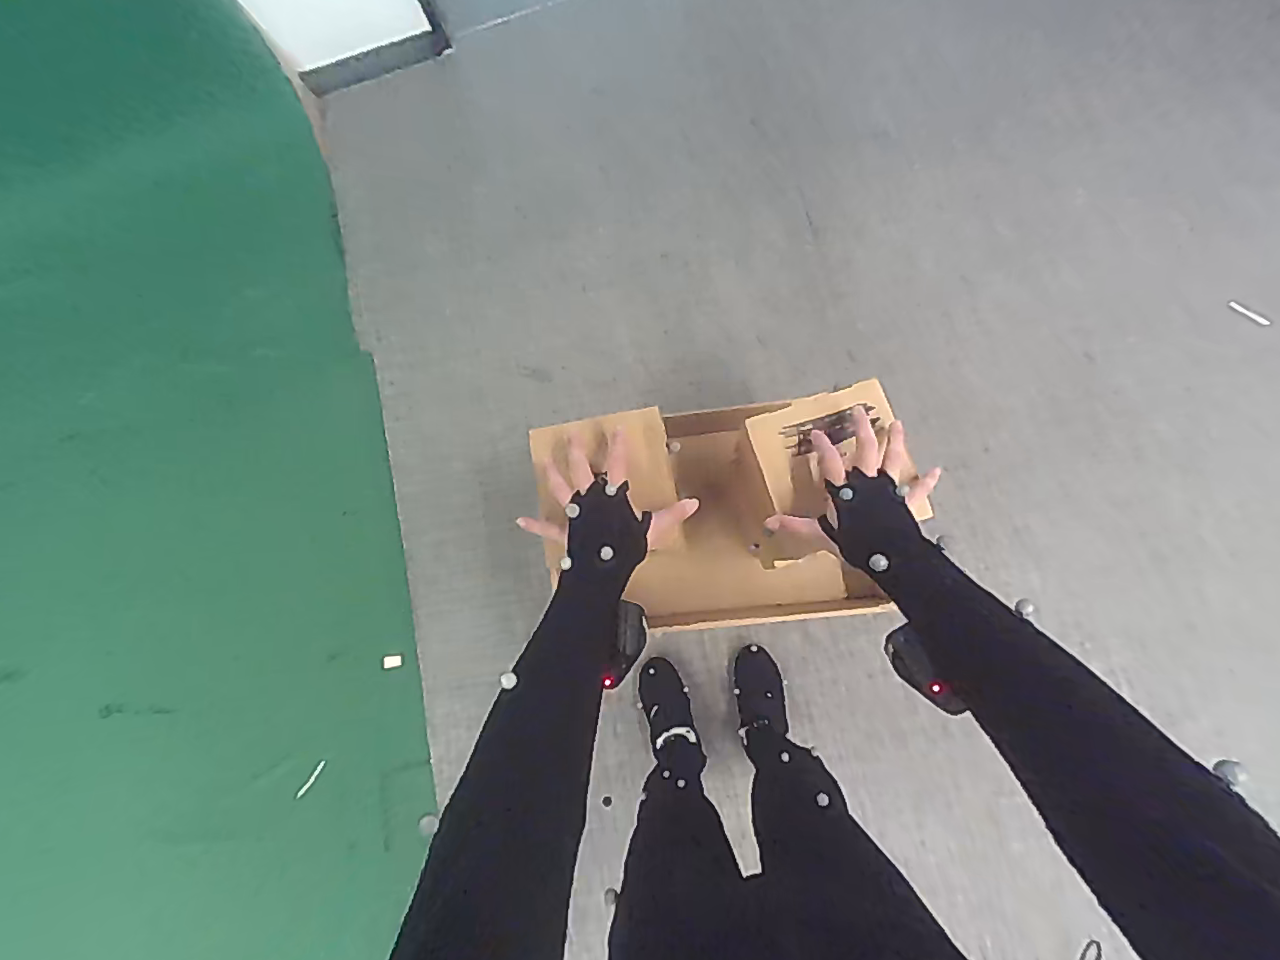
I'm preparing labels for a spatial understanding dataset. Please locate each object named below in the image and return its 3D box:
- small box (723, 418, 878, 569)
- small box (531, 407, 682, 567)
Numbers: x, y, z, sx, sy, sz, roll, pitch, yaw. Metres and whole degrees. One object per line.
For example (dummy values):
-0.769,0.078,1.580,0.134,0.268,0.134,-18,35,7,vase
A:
0.242,0.030,0.861,0.168,0.176,0.179,-24,78,2,small box
-0.037,0.019,0.732,0.168,0.176,0.179,-10,80,5,small box
